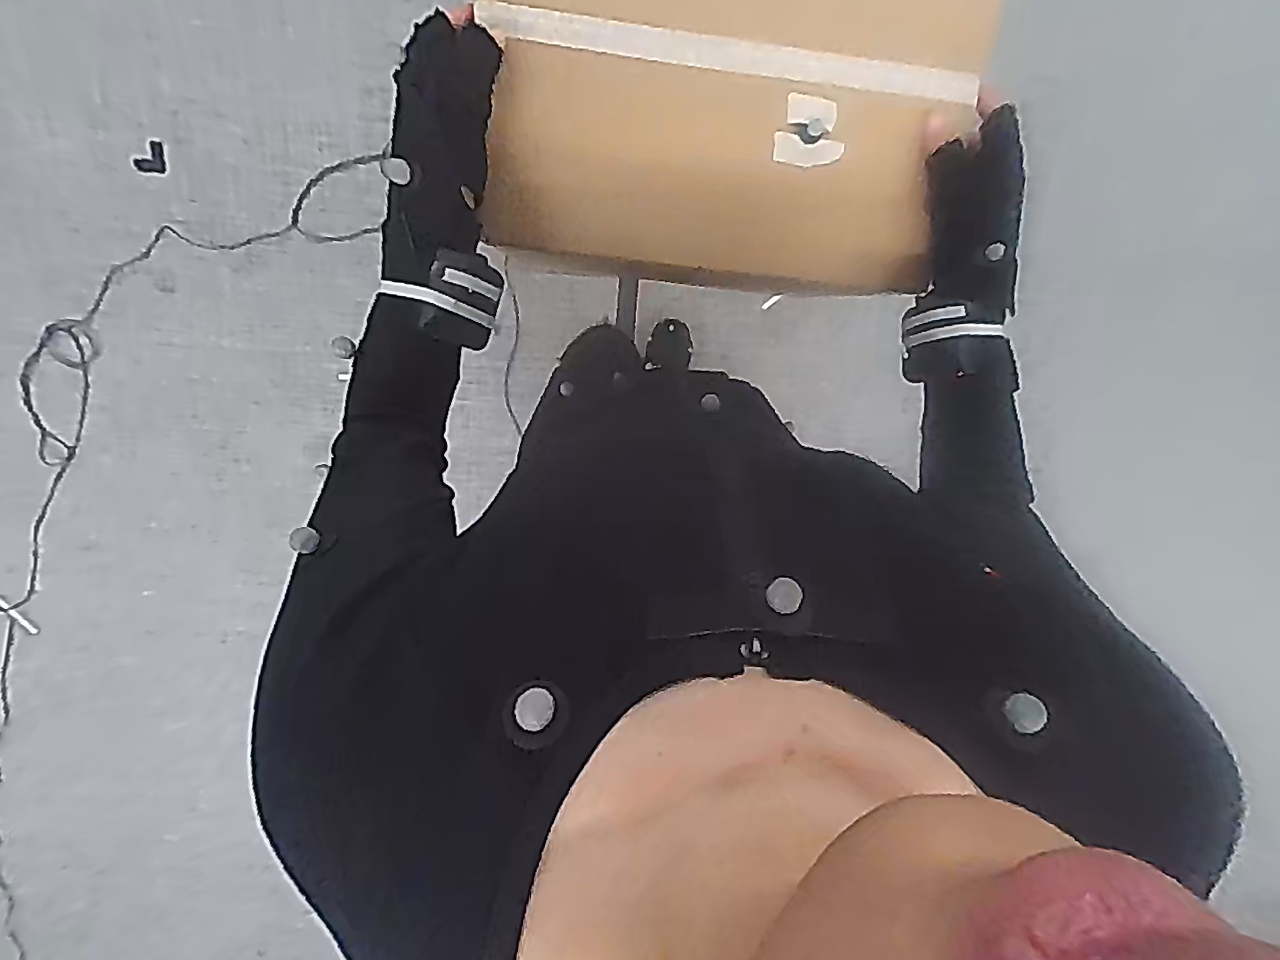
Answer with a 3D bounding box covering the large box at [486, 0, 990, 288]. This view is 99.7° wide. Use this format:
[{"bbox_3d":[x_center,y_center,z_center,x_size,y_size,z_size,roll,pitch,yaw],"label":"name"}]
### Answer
[{"bbox_3d":[0.064,-0.387,0.573,0.408,0.320,0.320,4,108,-6],"label":"large box"}]
